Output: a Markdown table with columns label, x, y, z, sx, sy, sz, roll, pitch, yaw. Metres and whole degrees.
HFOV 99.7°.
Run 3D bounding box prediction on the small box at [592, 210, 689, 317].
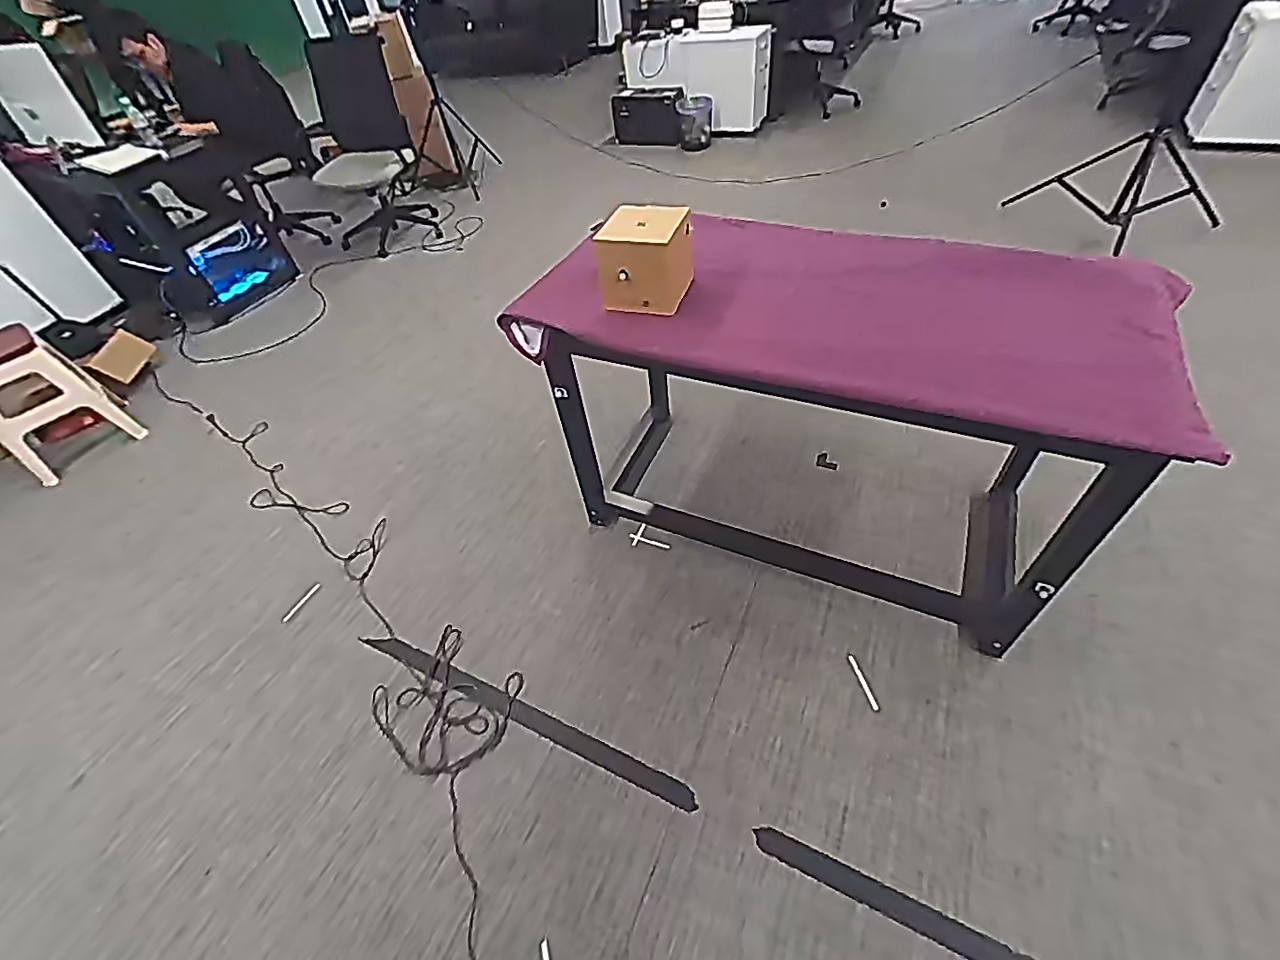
| label | x | y | z | sx | sy | sz | roll | pitch | yaw |
| --- | --- | --- | --- | --- | --- | --- | --- | --- | --- |
| small box | 0.011 | -0.483 | 1.209 | 0.168 | 0.176 | 0.179 | 10 | 49 | 17 |
